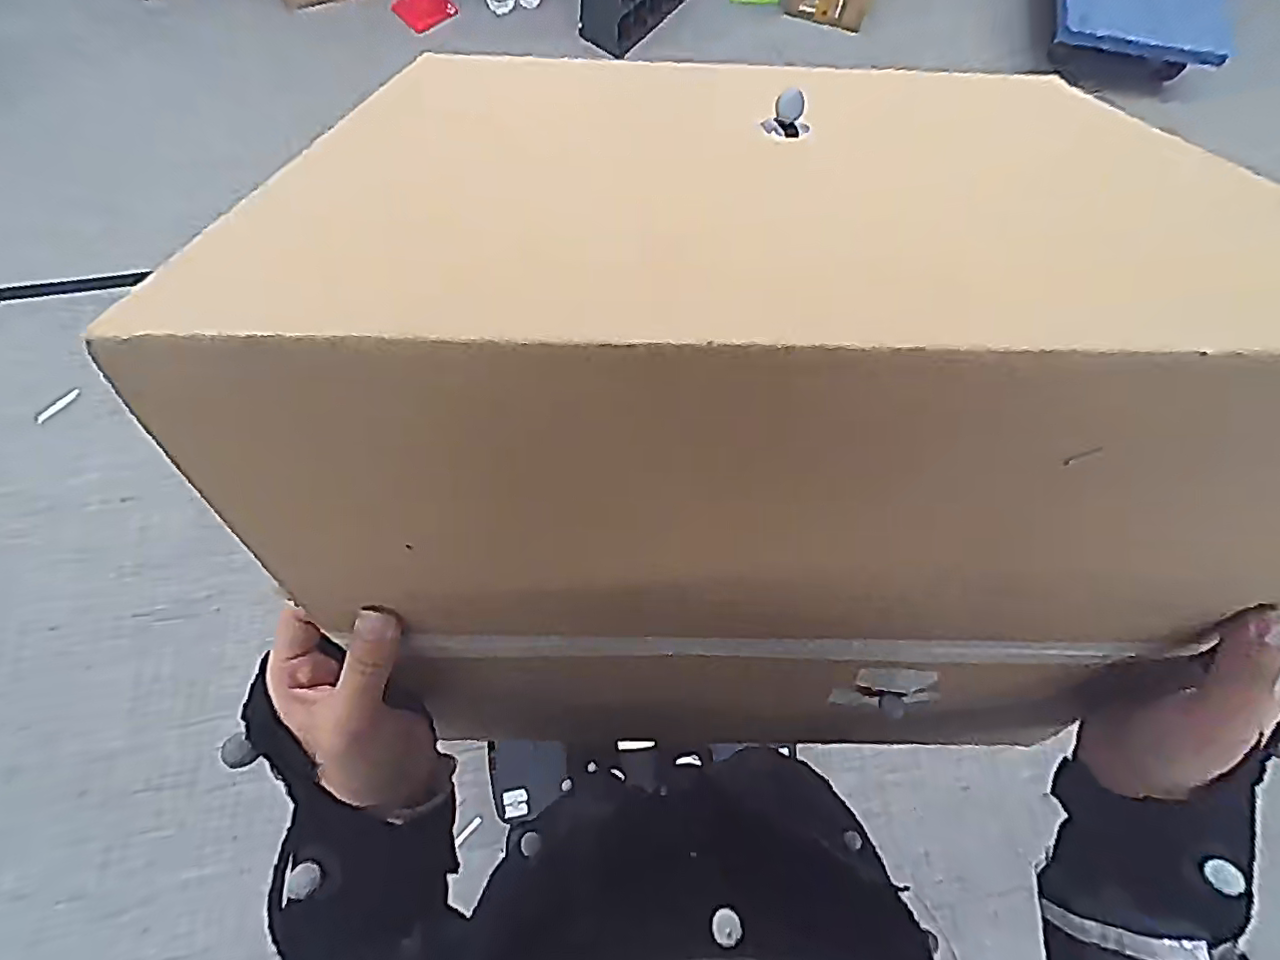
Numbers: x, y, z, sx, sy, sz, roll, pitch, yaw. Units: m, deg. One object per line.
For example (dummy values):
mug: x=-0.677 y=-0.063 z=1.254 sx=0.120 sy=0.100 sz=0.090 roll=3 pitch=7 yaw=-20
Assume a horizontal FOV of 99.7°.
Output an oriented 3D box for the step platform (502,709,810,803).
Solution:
step platform: x=0.033 y=0.551 z=1.243 sx=0.684 sy=0.204 sz=0.286 roll=-2 pitch=72 yaw=-3
